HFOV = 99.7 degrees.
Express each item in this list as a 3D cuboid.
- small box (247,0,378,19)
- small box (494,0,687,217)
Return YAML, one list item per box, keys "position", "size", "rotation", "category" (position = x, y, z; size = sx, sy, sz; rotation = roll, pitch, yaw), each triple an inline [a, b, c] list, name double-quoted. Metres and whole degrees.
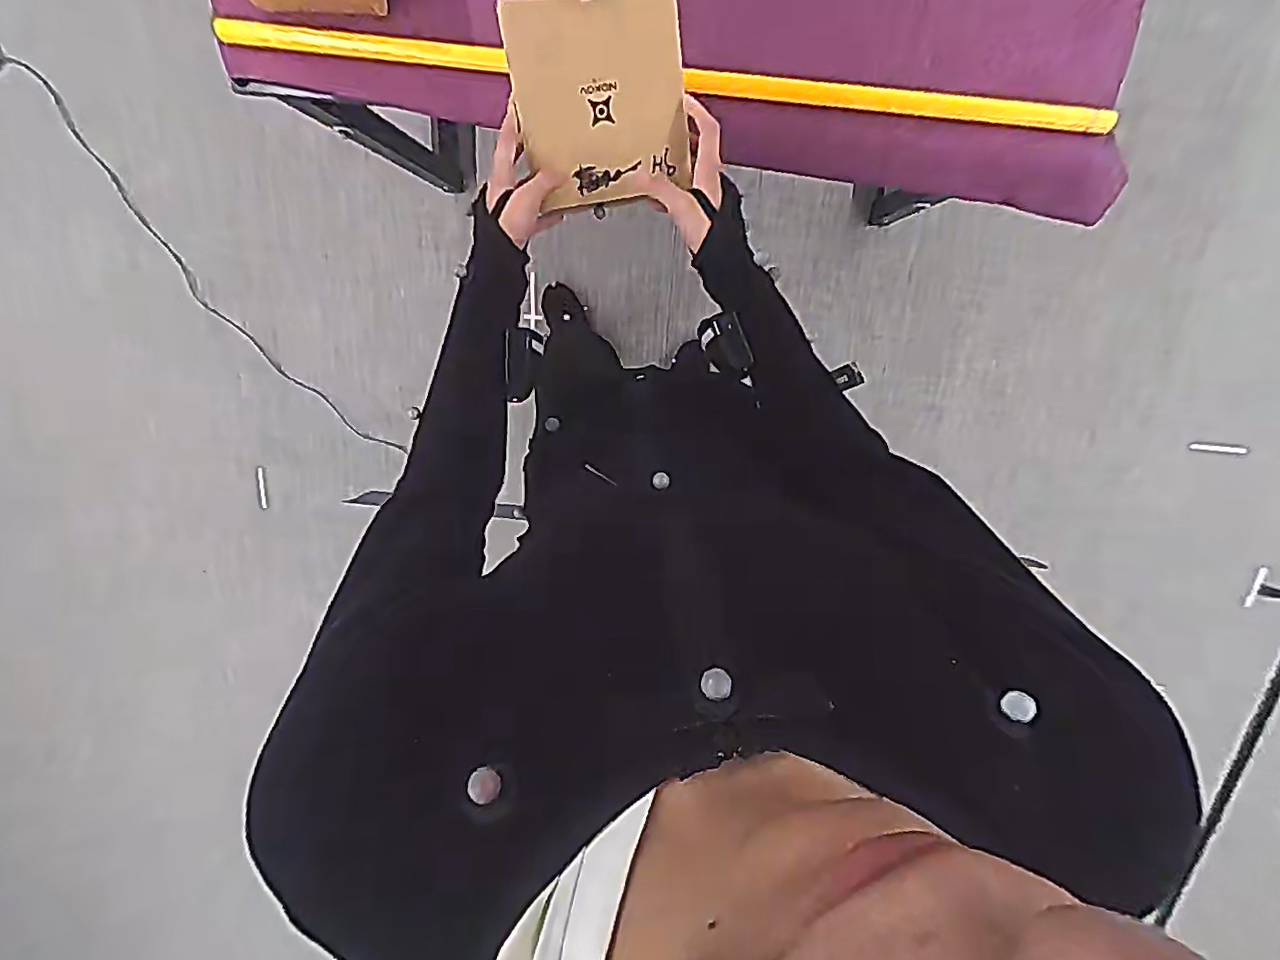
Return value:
- position: [-0.425, -0.680, 0.631]
  size: [0.179, 0.176, 0.168]
  rotation: [3, 106, 1]
  category: "small box"
- position: [-0.048, -0.395, 0.588]
  size: [0.168, 0.176, 0.179]
  rotation: [-9, 115, -1]
  category: "small box"
